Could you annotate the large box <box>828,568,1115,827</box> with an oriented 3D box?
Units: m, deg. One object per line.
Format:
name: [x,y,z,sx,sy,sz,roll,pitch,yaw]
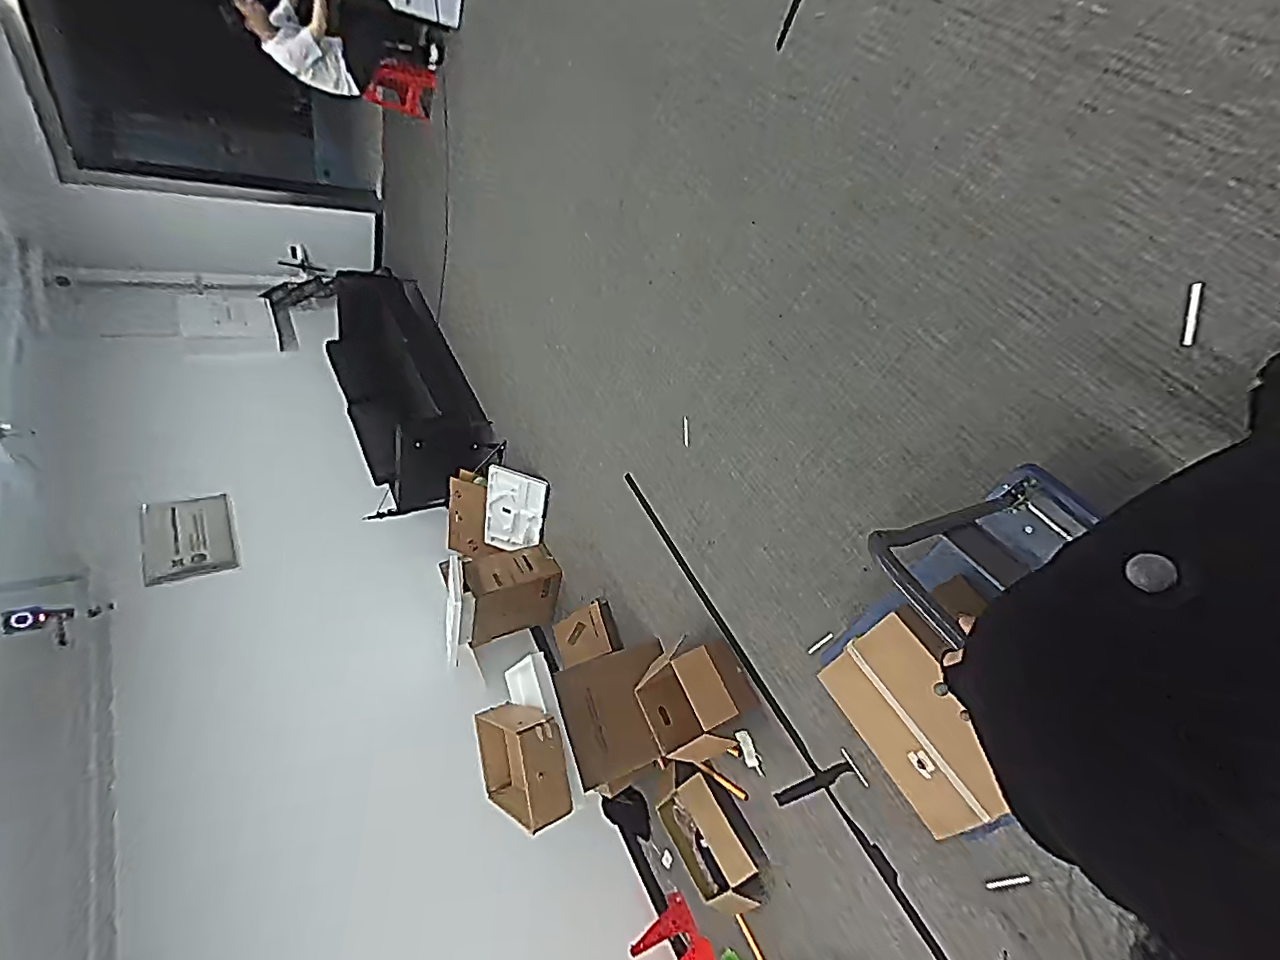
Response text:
large box: [0.735,0.475,1.242,0.408,0.320,0.320,55,140,30]
